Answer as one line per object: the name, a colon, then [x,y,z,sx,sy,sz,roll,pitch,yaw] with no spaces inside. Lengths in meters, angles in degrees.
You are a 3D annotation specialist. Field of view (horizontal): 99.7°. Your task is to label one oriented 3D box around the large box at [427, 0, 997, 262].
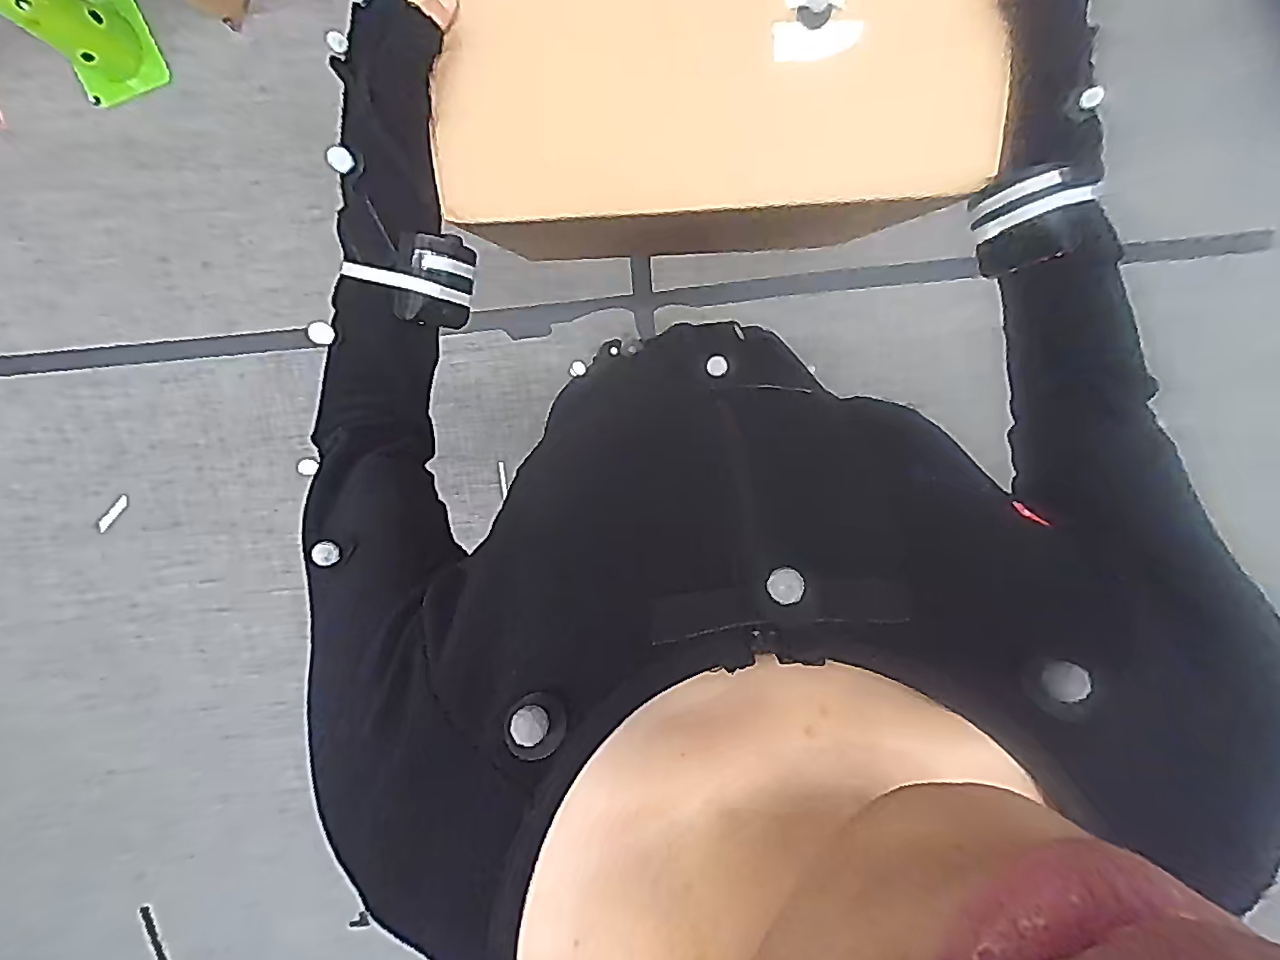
large box: [0.046,-0.400,0.510,0.408,0.320,0.320,-3,107,0]
